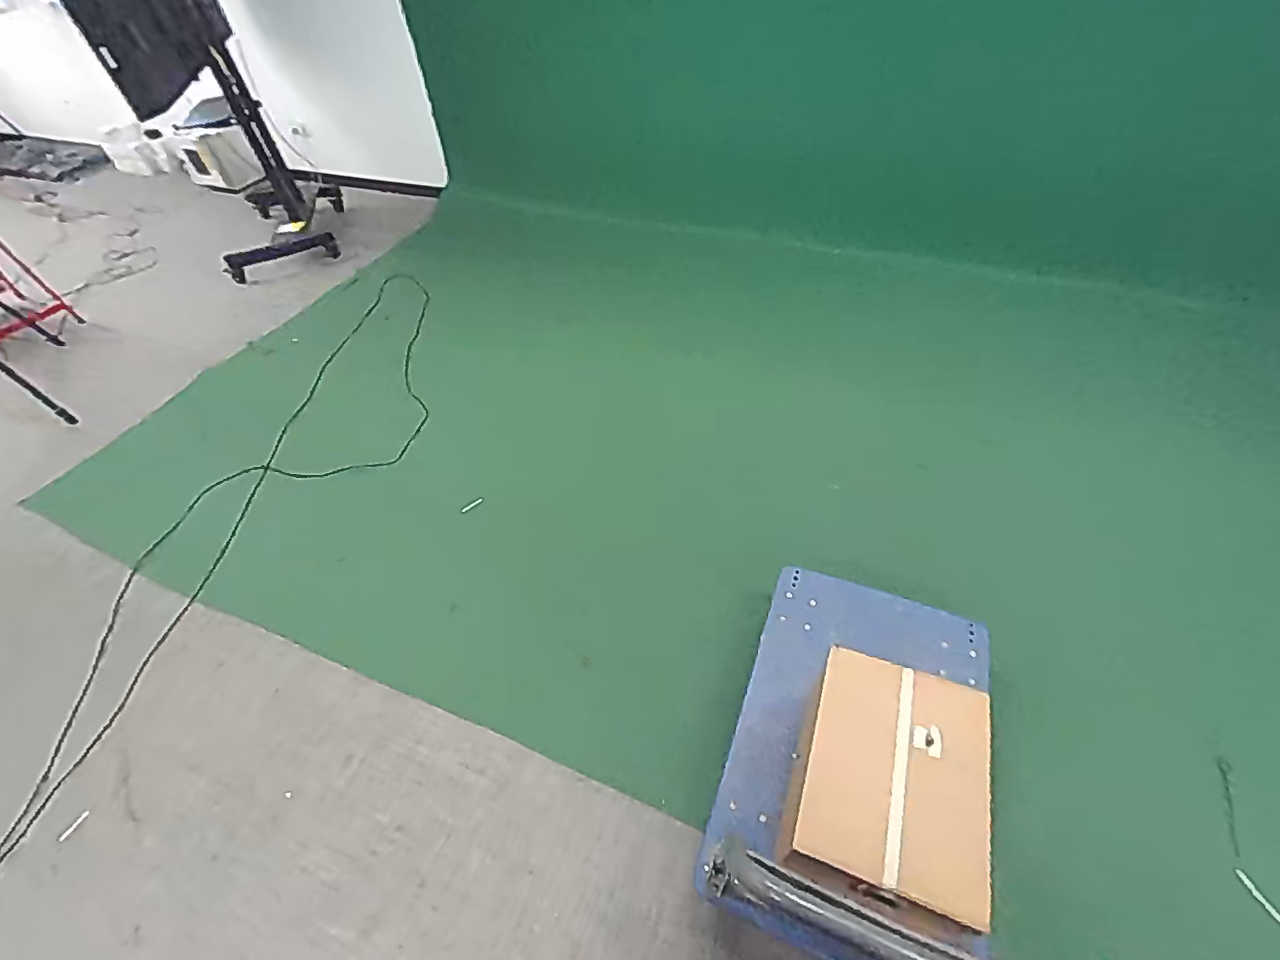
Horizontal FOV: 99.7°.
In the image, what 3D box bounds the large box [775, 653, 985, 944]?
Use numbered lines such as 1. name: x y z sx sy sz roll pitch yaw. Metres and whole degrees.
1. large box: 0.487 0.654 1.131 0.320 0.320 0.408 15 50 17
